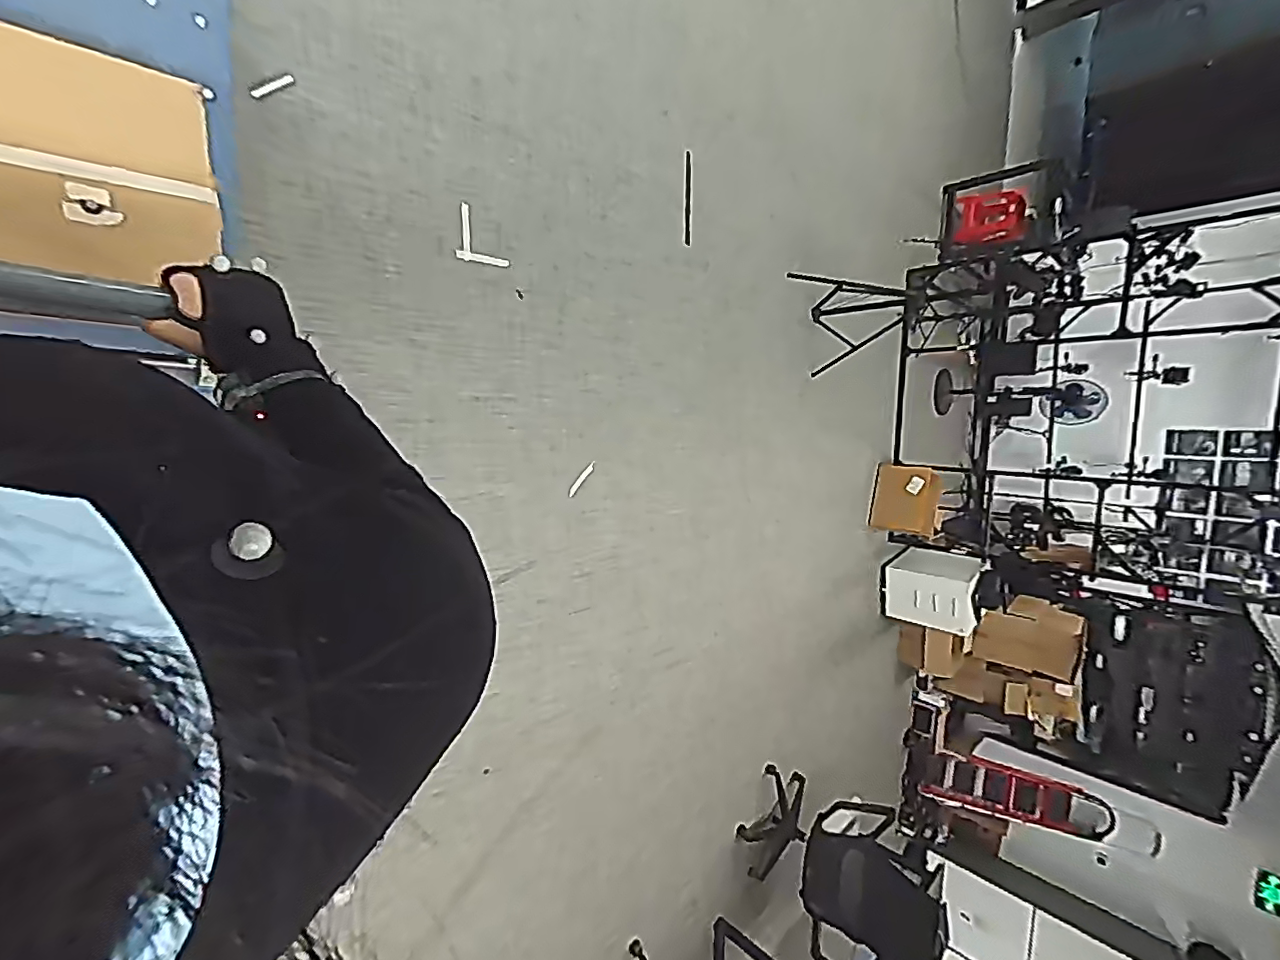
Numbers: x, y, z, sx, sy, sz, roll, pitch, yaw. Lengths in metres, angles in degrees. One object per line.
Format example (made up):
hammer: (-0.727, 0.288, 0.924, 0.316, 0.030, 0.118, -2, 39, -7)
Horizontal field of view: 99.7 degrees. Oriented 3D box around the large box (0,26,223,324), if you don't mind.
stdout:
large box: (-0.893, -0.415, 0.776, 0.408, 0.320, 0.320, -9, 102, -46)
